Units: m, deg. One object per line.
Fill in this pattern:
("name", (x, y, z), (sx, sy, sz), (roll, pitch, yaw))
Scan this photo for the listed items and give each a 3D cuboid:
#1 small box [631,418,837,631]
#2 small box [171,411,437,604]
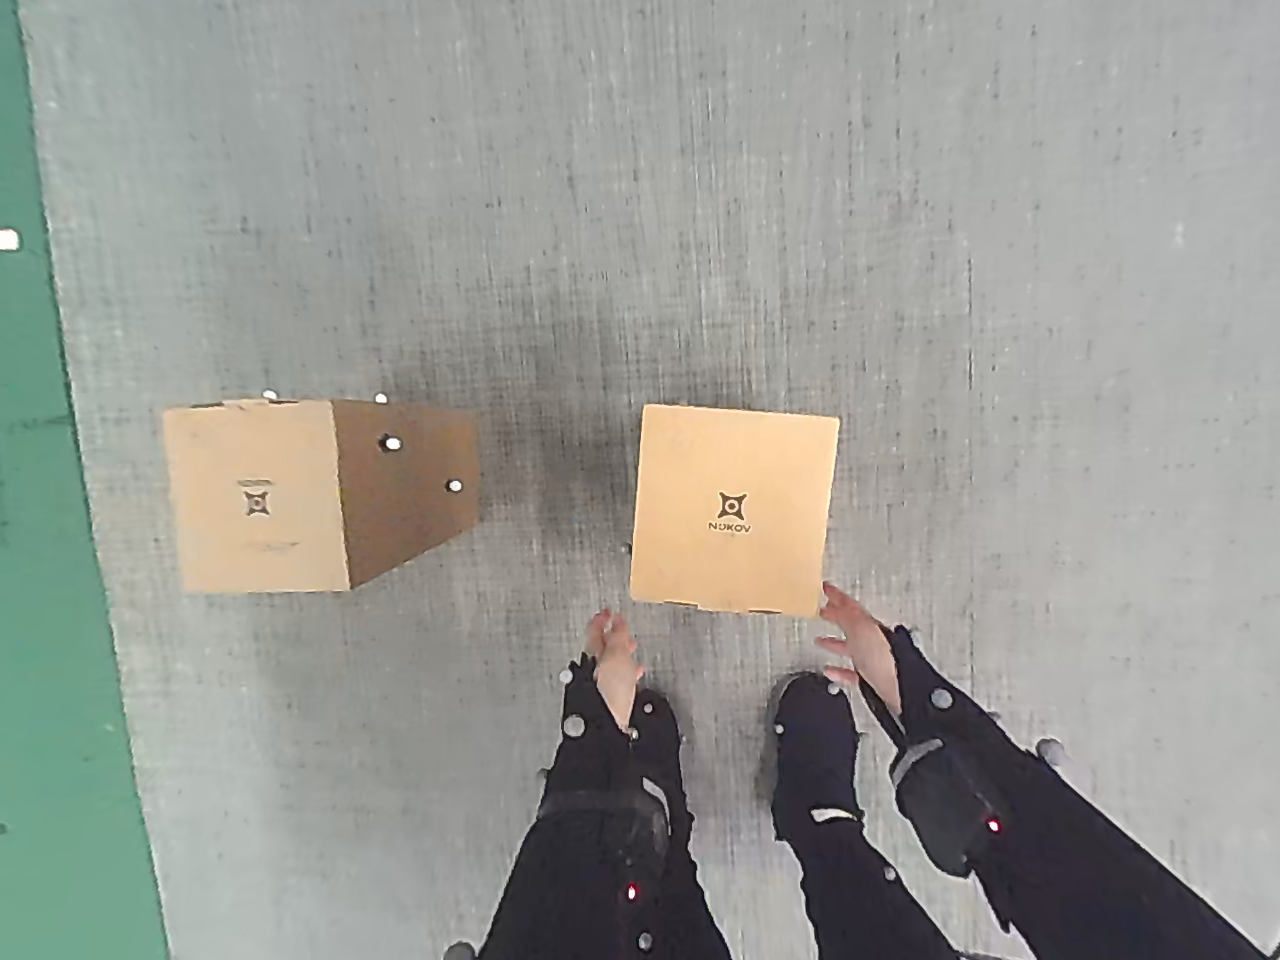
("small box", (0.084, 0.031, 0.543), (0.168, 0.176, 0.179), (4, 97, 4))
("small box", (-0.335, 0.020, 0.573), (0.168, 0.176, 0.179), (-2, 97, 6))
